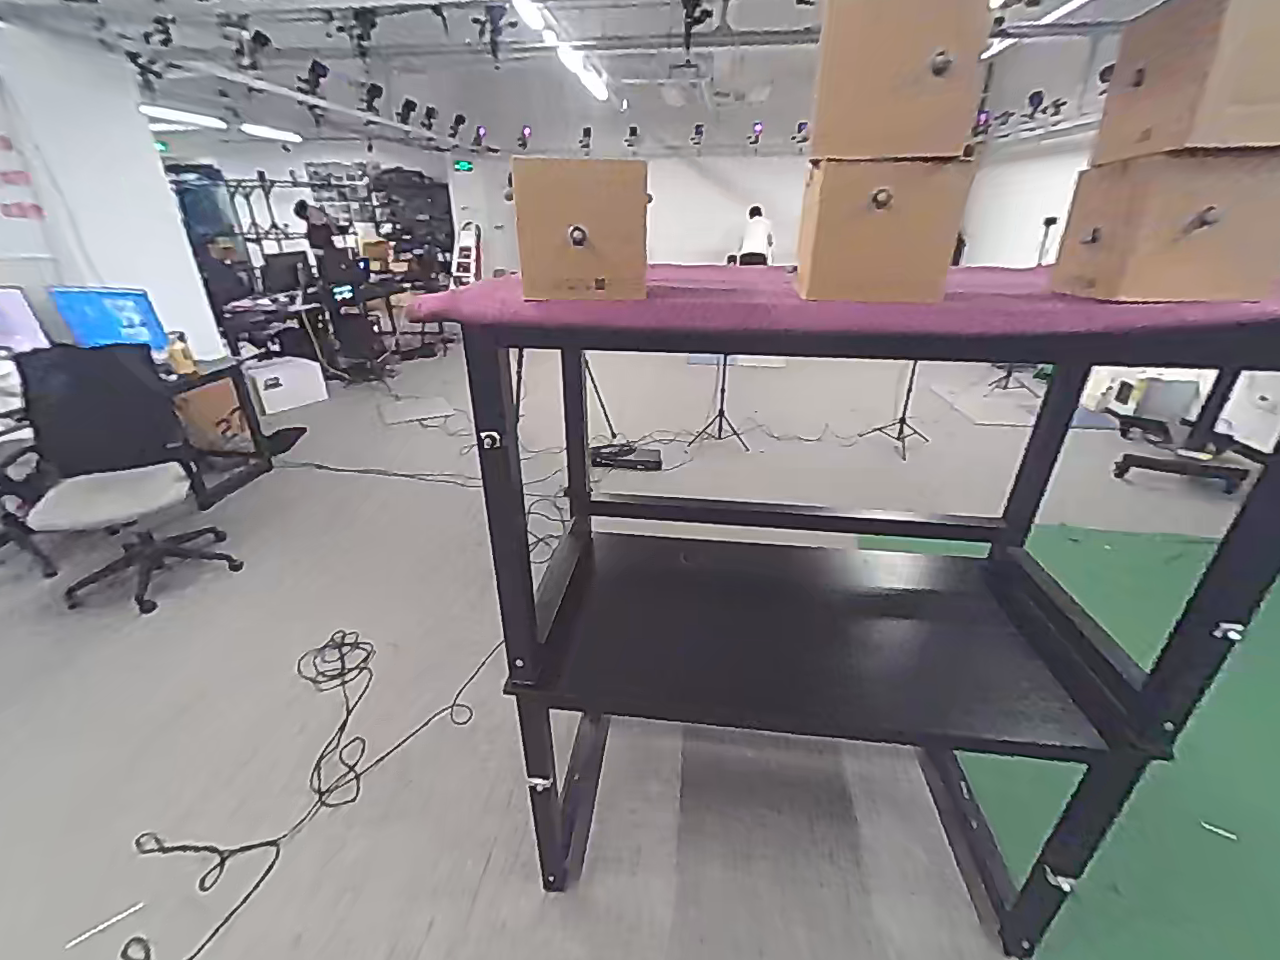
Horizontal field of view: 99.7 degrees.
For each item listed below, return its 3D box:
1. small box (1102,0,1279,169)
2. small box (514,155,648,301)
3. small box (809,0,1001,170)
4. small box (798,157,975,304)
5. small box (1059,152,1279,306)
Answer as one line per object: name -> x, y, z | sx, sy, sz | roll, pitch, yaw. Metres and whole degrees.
small box -> 0.696, -0.468, 0.638 | 0.179, 0.176, 0.168 | 3, 24, 7
small box -> -0.077, -0.350, 0.757 | 0.168, 0.176, 0.179 | -1, 27, -5
small box -> 0.317, -0.486, 0.678 | 0.179, 0.176, 0.168 | 8, 27, 17
small box -> 0.321, -0.341, 0.750 | 0.179, 0.176, 0.168 | 5, 27, 7
small box -> 0.699, -0.324, 0.715 | 0.179, 0.176, 0.168 | 2, 24, 8
